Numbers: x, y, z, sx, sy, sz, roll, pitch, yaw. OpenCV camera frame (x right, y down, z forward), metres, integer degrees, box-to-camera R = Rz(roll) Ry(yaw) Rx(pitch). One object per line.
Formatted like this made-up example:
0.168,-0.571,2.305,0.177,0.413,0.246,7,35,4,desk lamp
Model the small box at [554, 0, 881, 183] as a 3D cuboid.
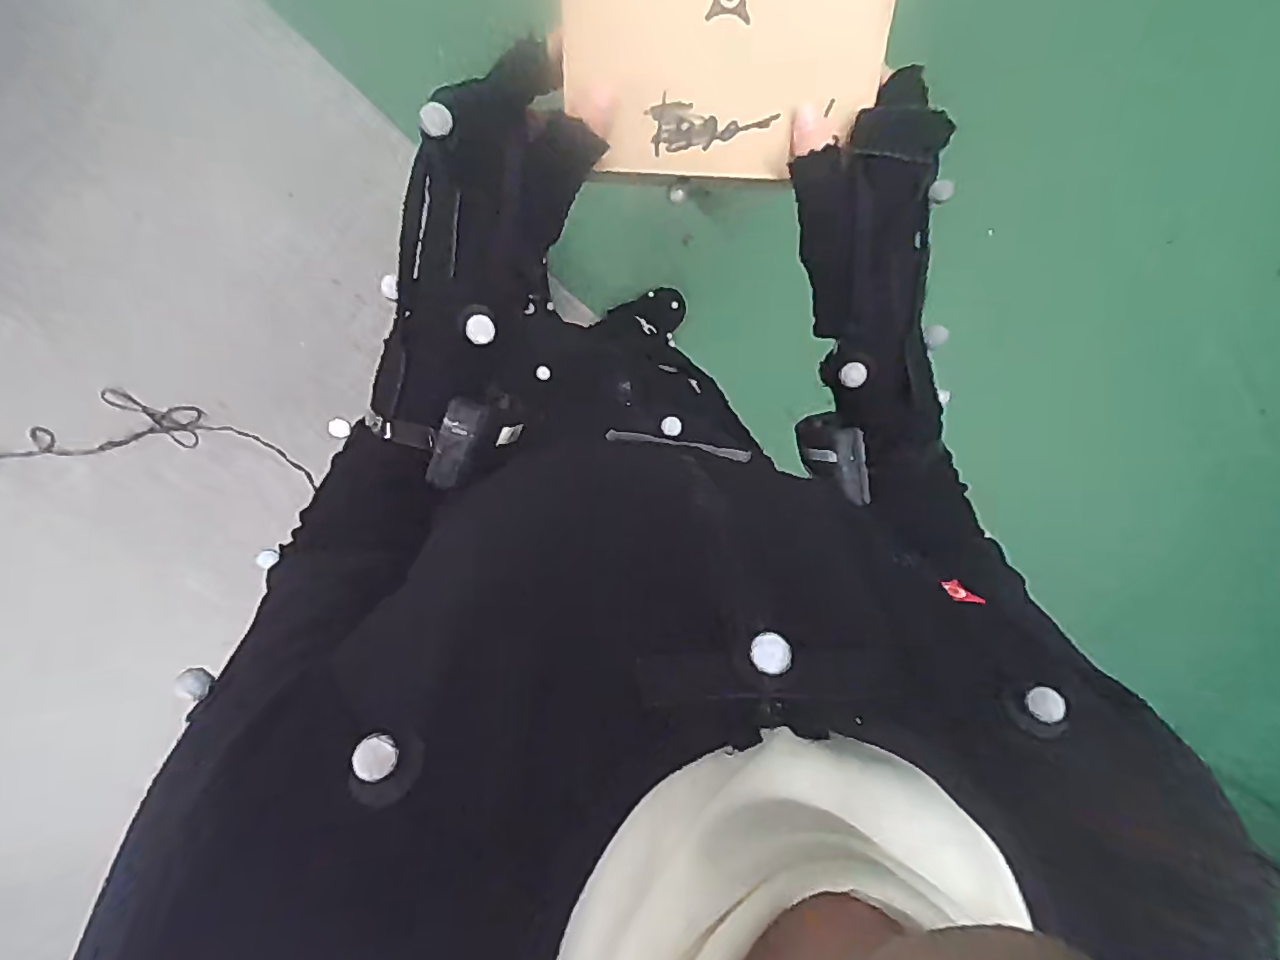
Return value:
0.033,-0.287,0.330,0.168,0.176,0.179,0,118,-5,small box
